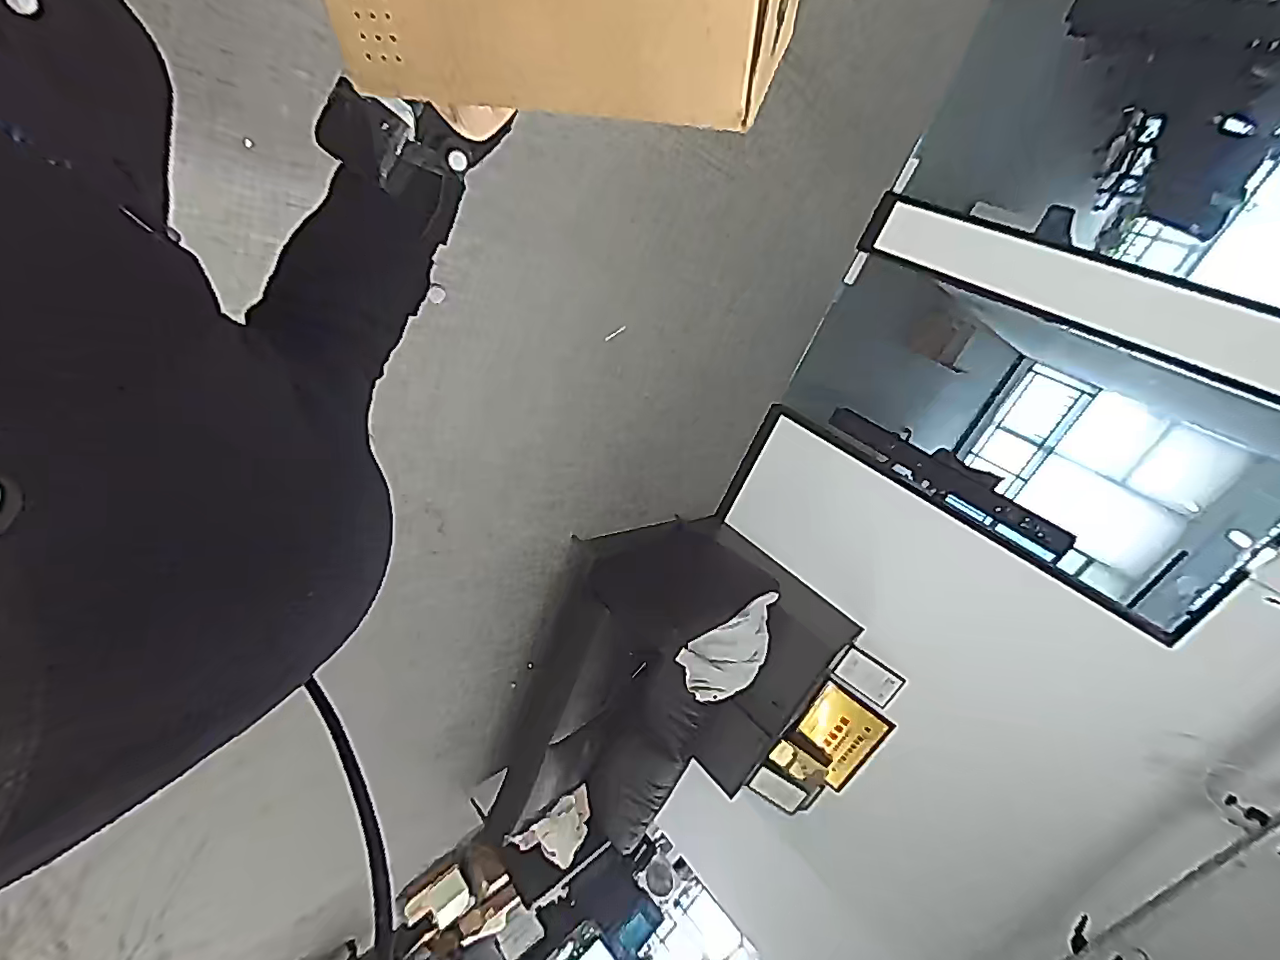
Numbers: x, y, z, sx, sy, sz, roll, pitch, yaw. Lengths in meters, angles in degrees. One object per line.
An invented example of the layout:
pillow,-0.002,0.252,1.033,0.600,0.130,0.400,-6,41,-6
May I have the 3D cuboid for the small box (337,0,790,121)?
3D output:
small box,-0.022,-0.265,0.206,0.179,0.176,0.168,89,17,-50
